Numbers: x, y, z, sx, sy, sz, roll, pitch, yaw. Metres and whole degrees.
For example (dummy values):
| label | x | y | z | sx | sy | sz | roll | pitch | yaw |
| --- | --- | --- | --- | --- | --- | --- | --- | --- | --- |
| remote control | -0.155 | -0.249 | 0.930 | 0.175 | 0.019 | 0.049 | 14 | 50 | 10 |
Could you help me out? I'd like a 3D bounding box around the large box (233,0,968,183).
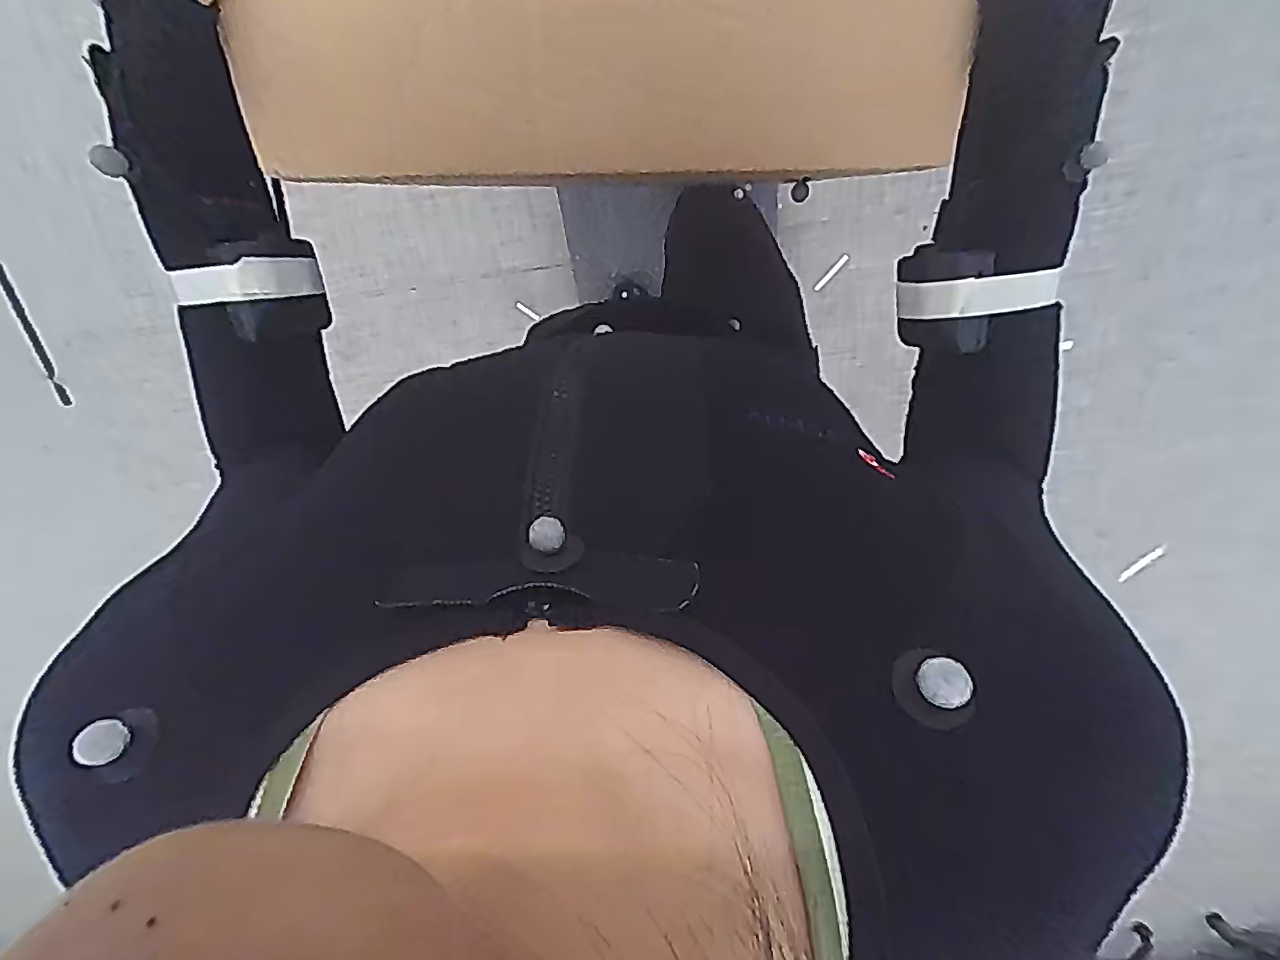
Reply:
| label | x | y | z | sx | sy | sz | roll | pitch | yaw |
| --- | --- | --- | --- | --- | --- | --- | --- | --- | --- |
| large box | -0.021 | -0.394 | 0.389 | 0.408 | 0.320 | 0.320 | -1 | 117 | 0 |
